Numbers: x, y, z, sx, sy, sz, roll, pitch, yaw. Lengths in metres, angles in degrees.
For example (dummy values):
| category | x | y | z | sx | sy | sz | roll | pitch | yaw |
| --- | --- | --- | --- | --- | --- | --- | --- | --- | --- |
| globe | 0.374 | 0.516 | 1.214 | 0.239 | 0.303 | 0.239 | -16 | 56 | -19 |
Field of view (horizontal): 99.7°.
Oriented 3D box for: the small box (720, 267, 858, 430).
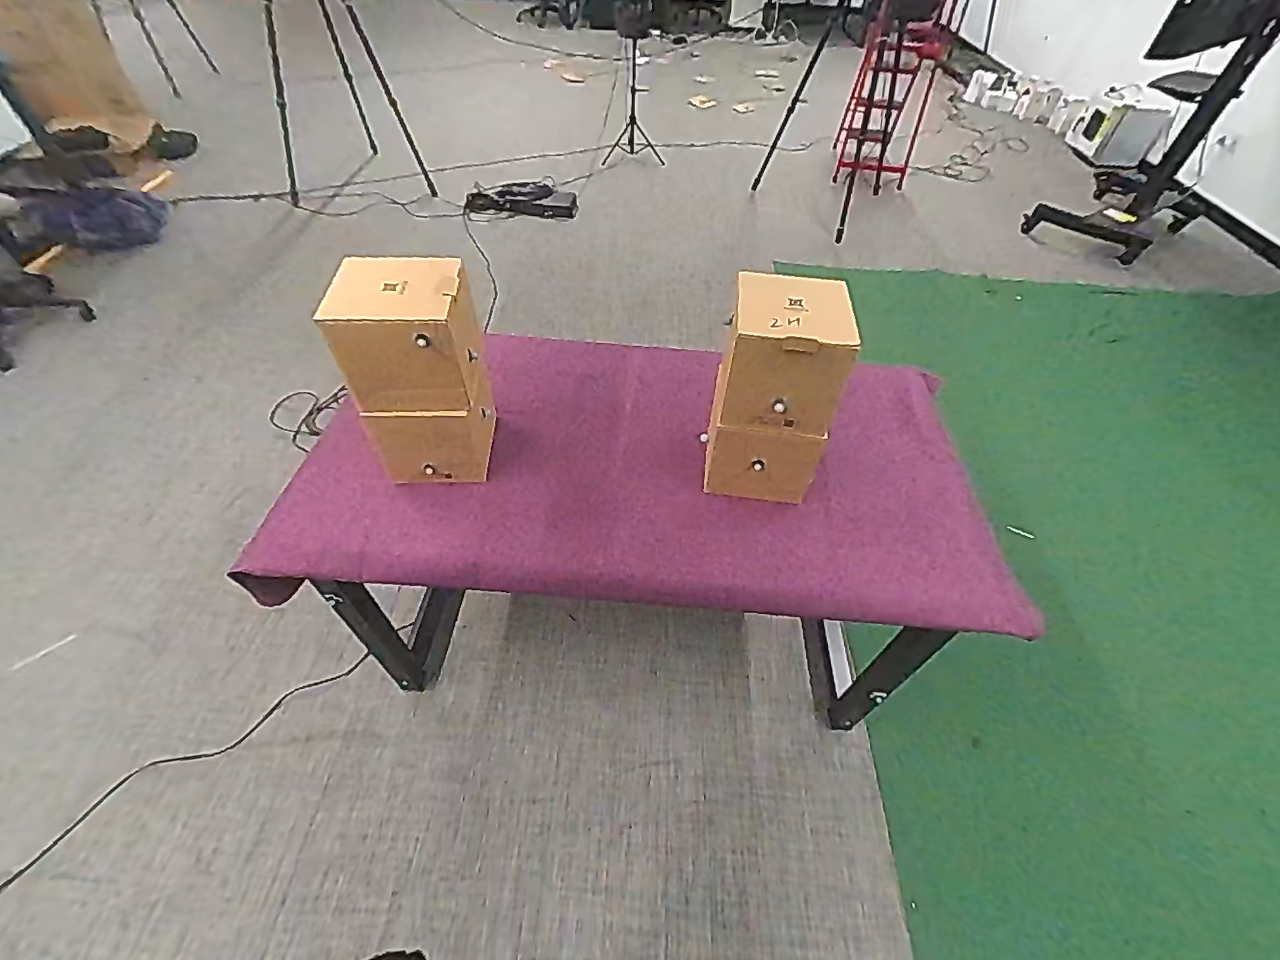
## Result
| category | x | y | z | sx | sy | sz | roll | pitch | yaw |
| --- | --- | --- | --- | --- | --- | --- | --- | --- | --- |
| small box | 0.217 | -0.201 | 0.835 | 0.168 | 0.176 | 0.179 | 6 | 50 | 4 |

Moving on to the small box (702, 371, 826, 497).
| category | x | y | z | sx | sy | sz | roll | pitch | yaw |
| --- | --- | --- | --- | --- | --- | --- | --- | --- | --- |
| small box | 0.214 | -0.089 | 0.953 | 0.179 | 0.176 | 0.168 | 9 | 48 | 6 |

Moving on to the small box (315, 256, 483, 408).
| category | x | y | z | sx | sy | sz | roll | pitch | yaw |
| --- | --- | --- | --- | --- | --- | --- | --- | --- | --- |
| small box | -0.353 | -0.224 | 0.832 | 0.179 | 0.176 | 0.168 | -2 | 51 | -5 |
